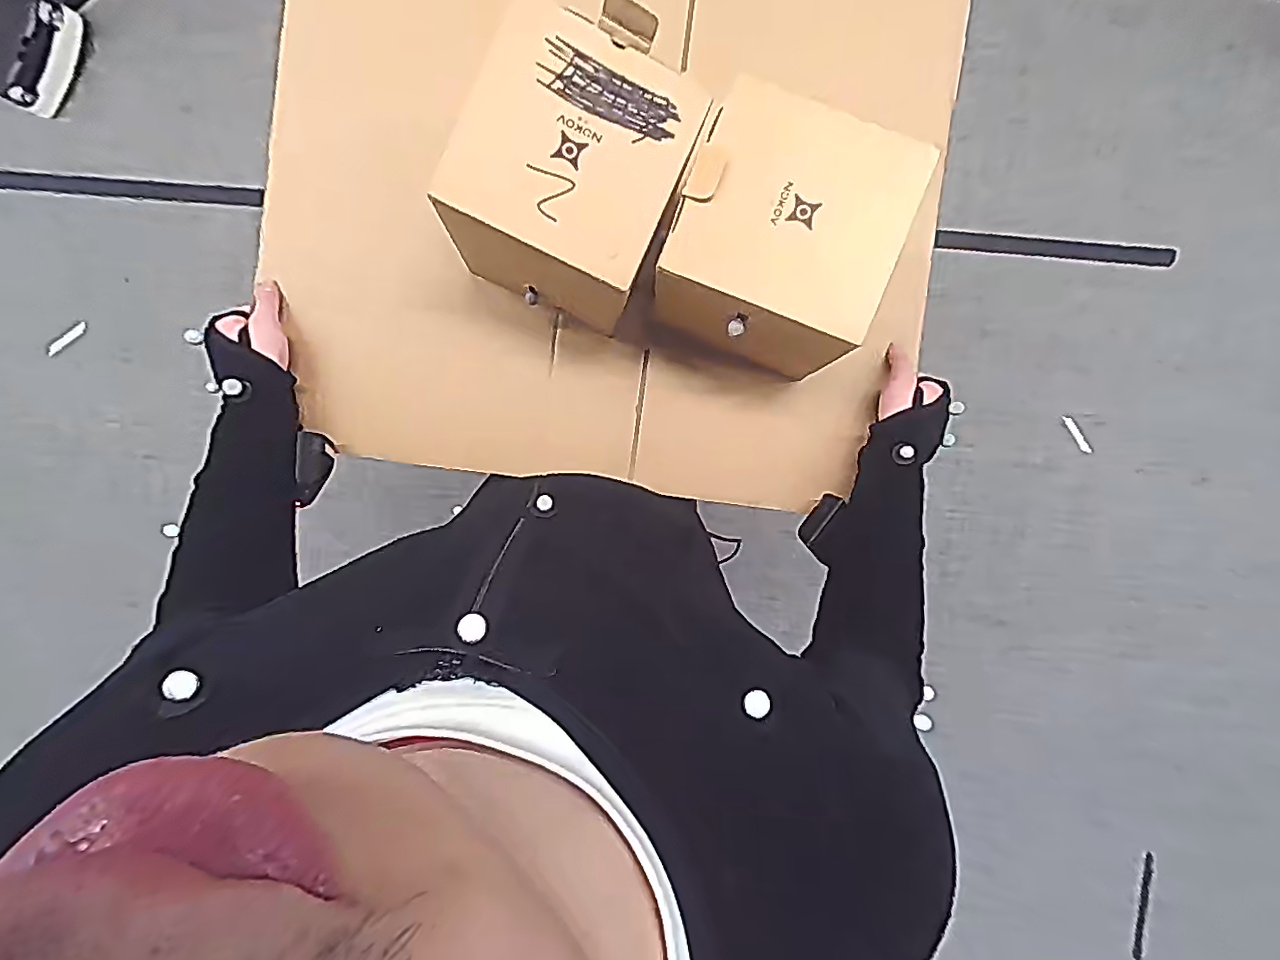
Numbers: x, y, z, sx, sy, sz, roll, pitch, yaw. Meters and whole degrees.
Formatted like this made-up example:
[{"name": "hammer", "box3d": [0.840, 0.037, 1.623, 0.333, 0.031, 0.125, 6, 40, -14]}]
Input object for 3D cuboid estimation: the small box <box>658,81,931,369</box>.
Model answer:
[{"name": "small box", "box3d": [0.126, -0.217, 0.515, 0.179, 0.176, 0.168, 22, 92, 1]}]
